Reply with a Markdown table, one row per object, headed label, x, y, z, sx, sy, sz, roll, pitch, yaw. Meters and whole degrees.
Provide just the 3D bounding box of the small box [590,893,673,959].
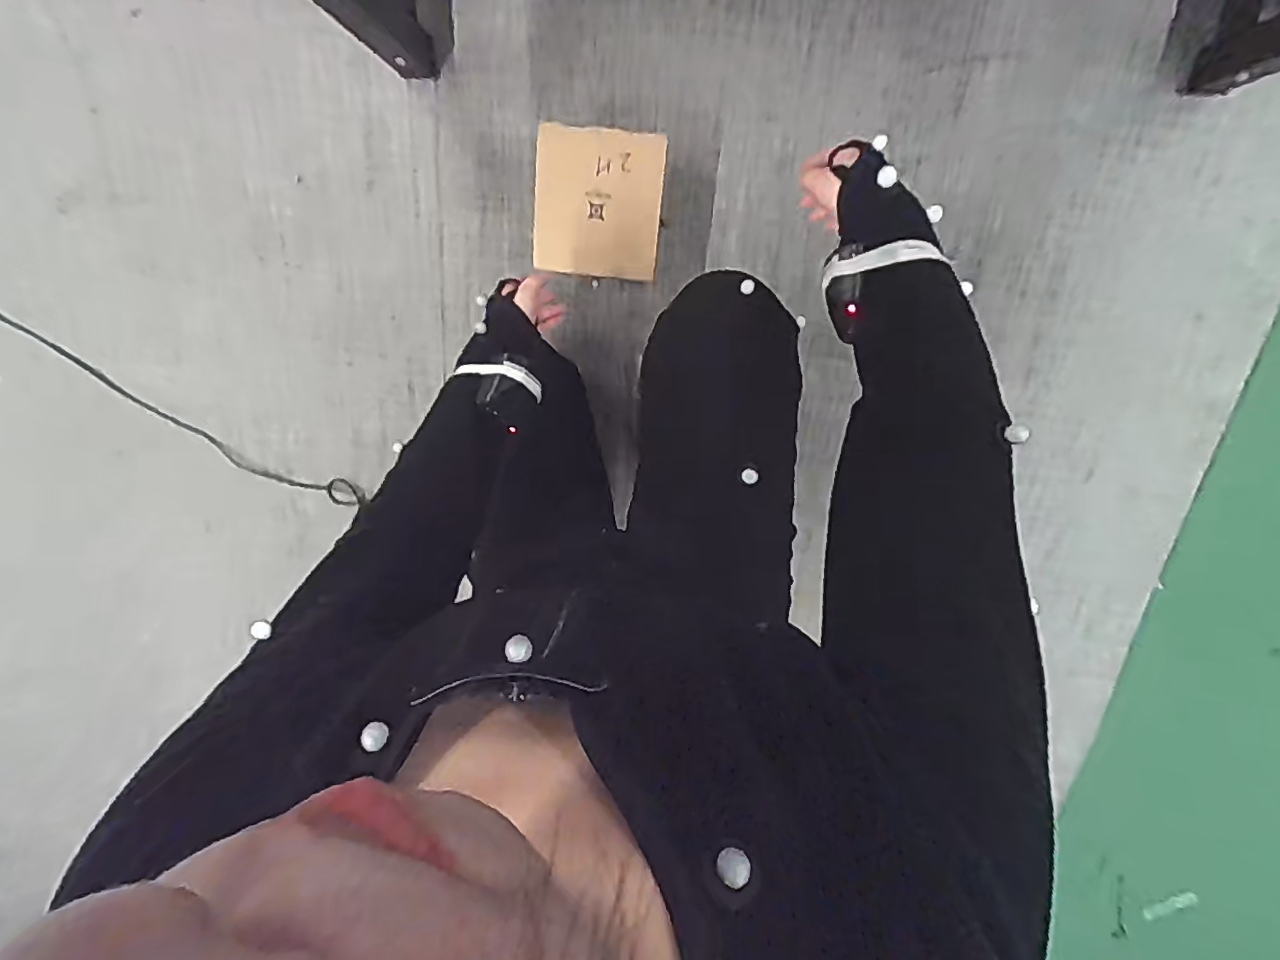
| label | x | y | z | sx | sy | sz | roll | pitch | yaw |
| --- | --- | --- | --- | --- | --- | --- | --- | --- | --- |
| small box | -0.024 | 1.128 | 1.281 | 0.179 | 0.176 | 0.168 | 13 | 109 | -1 |
